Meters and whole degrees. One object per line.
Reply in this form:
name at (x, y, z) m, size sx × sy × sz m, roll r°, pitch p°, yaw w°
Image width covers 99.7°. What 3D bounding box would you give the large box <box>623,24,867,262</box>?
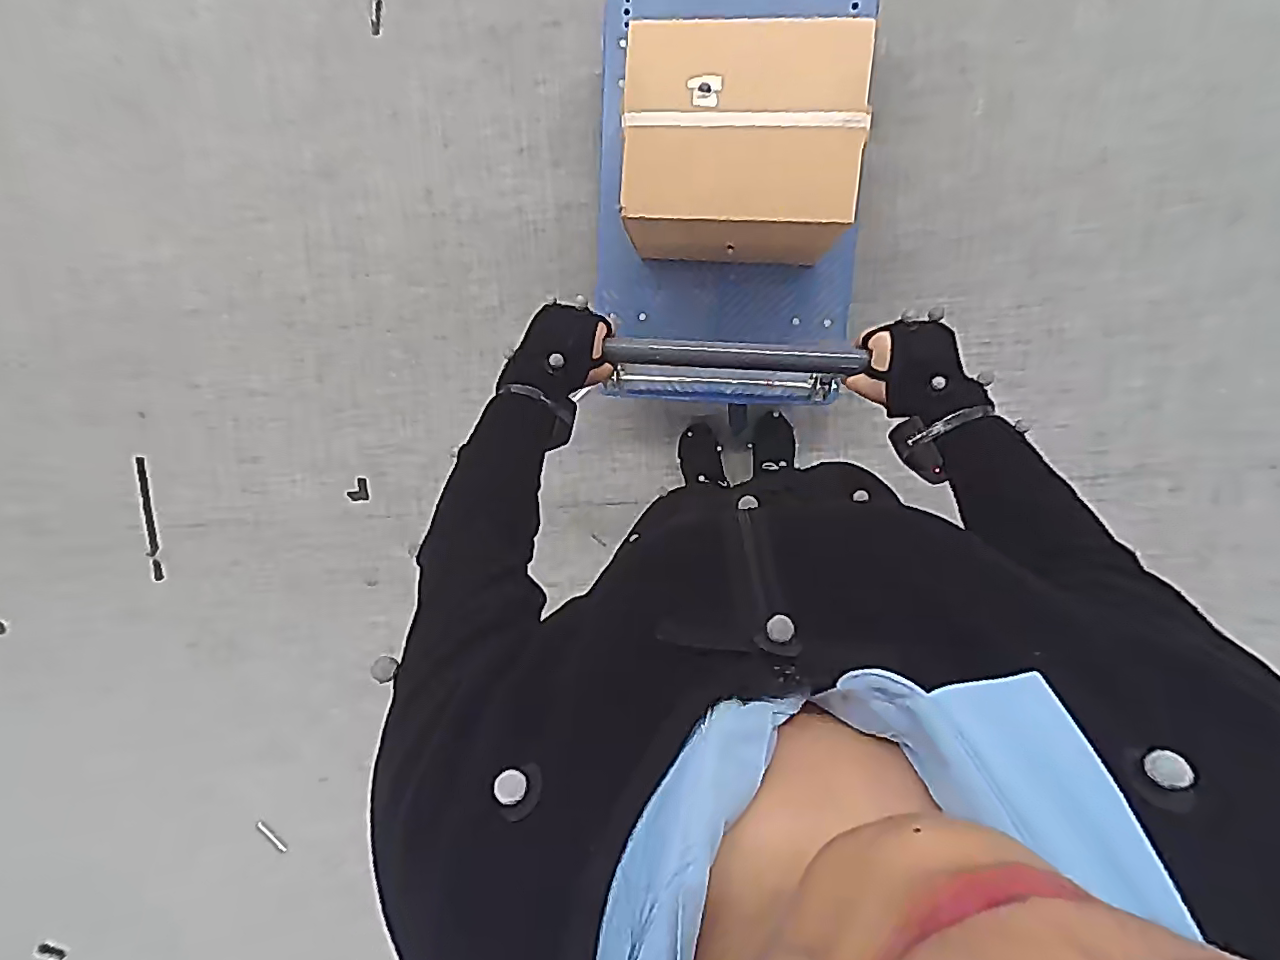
large box at (0.192, -0.628, 1.075) m, size 0.408 × 0.320 × 0.320 m, roll 4°, pitch 98°, yaw 7°
